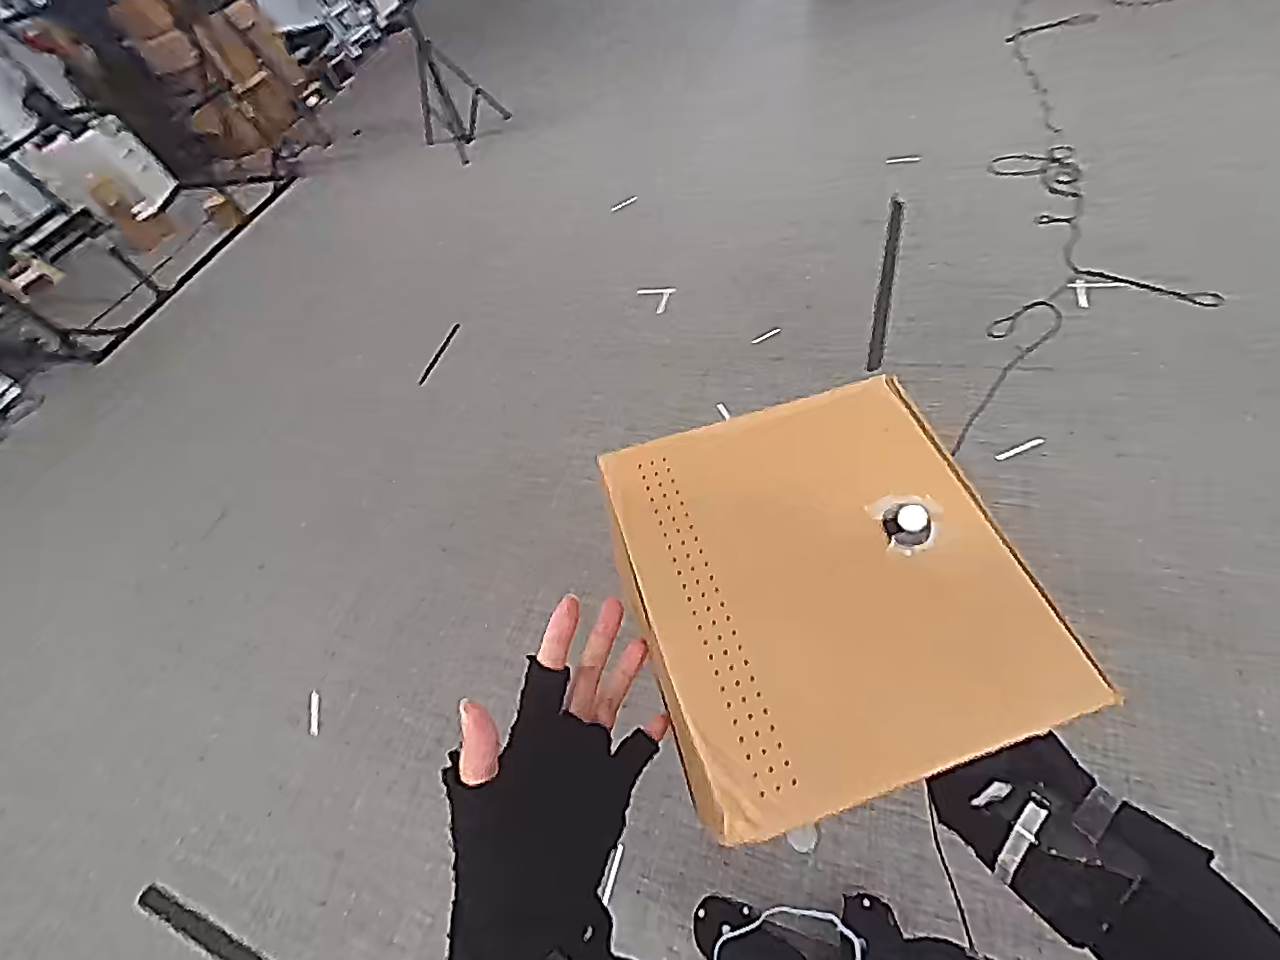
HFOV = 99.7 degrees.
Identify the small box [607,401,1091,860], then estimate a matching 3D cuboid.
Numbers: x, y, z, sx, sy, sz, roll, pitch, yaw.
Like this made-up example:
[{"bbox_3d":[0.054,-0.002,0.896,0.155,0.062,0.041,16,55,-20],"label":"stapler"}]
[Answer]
[{"bbox_3d":[0.085,0.087,0.320,0.176,0.168,0.179,-17,61,-6],"label":"small box"}]
